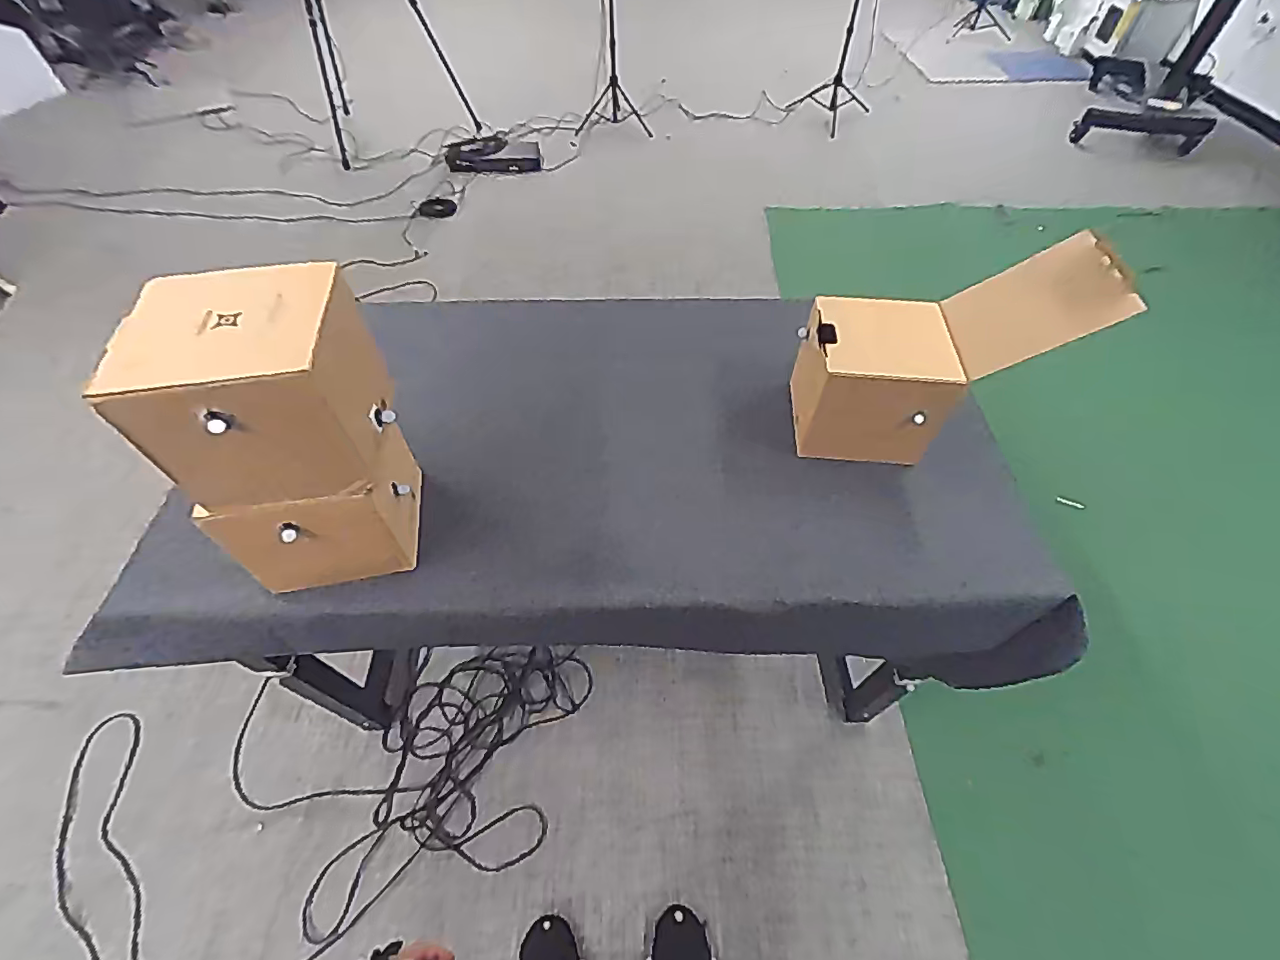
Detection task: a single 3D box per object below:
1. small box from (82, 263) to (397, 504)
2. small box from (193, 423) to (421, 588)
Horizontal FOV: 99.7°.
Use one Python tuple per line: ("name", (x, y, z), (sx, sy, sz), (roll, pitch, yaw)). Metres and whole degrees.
("small box", (-0.369, -0.092, 0.544), (0.179, 0.176, 0.168), (-8, 54, -7))
("small box", (-0.384, 0.014, 0.668), (0.179, 0.176, 0.168), (-9, 53, -7))
